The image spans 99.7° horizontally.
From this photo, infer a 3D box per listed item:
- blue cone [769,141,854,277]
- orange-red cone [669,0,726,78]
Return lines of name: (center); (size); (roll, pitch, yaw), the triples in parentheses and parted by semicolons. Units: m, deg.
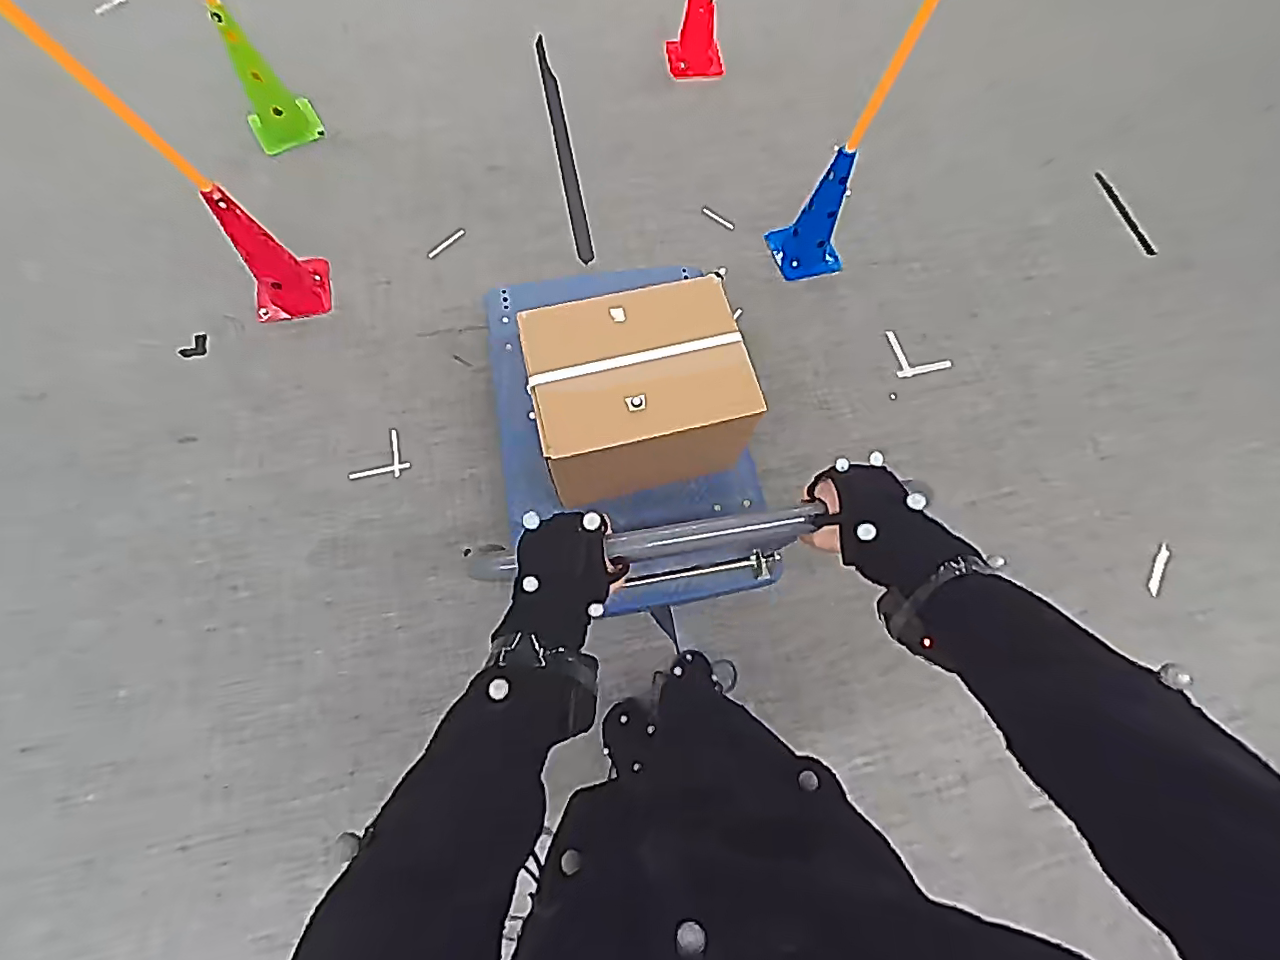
blue cone: (0.530, -0.785, 1.562); (0.193, 0.380, 0.192); (-14, 71, -8)
orange-red cone: (0.219, -1.602, 1.821); (0.199, 0.360, 0.198); (-4, 71, -5)
